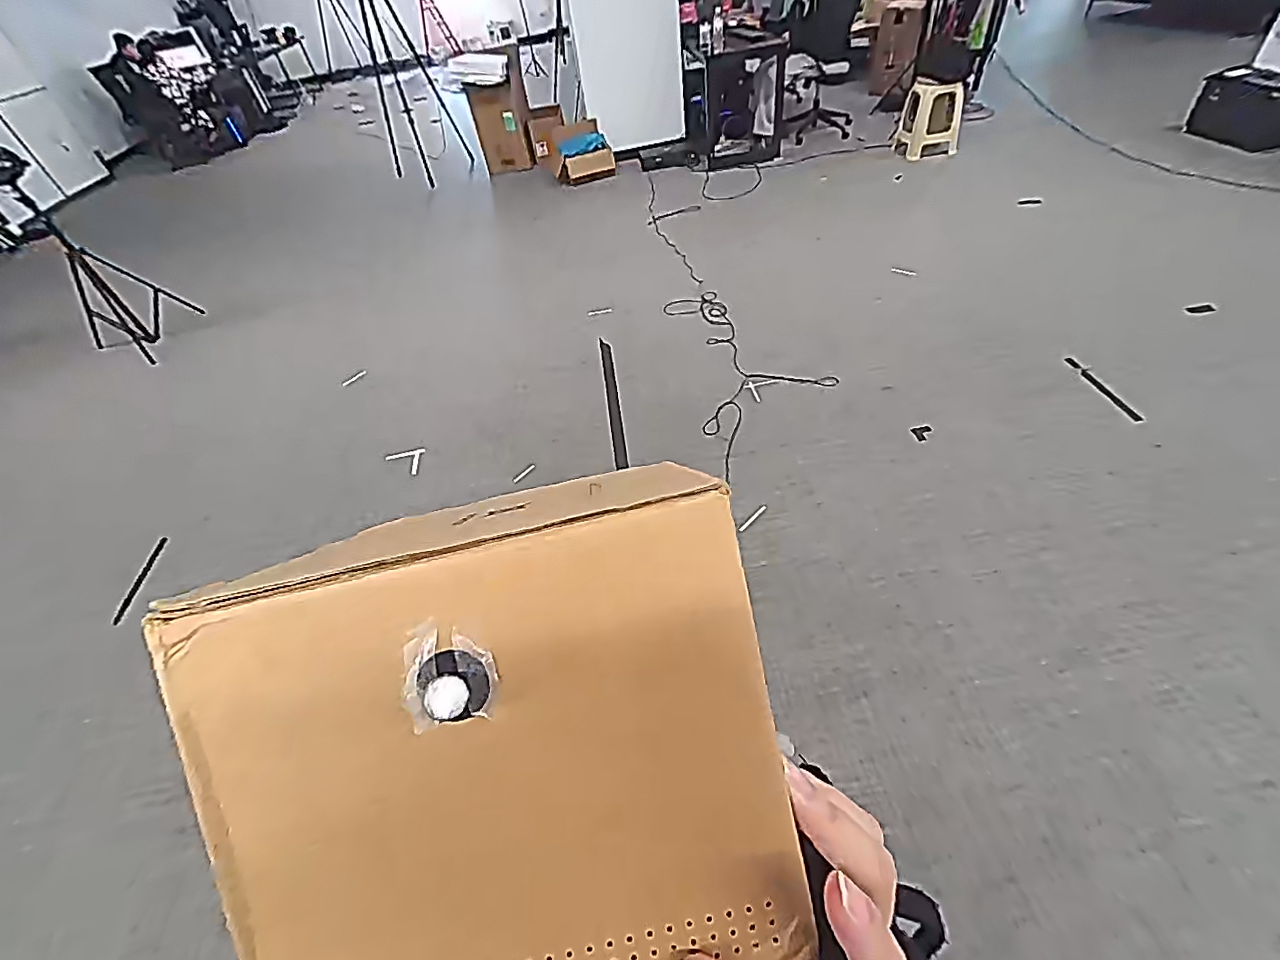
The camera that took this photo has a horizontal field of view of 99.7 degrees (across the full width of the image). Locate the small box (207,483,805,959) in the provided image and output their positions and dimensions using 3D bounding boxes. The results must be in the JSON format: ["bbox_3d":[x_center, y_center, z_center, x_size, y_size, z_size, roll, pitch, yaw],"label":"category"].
[{"bbox_3d":[-0.043,0.105,0.260,0.179,0.176,0.168,-12,5,-2],"label":"small box"}]
